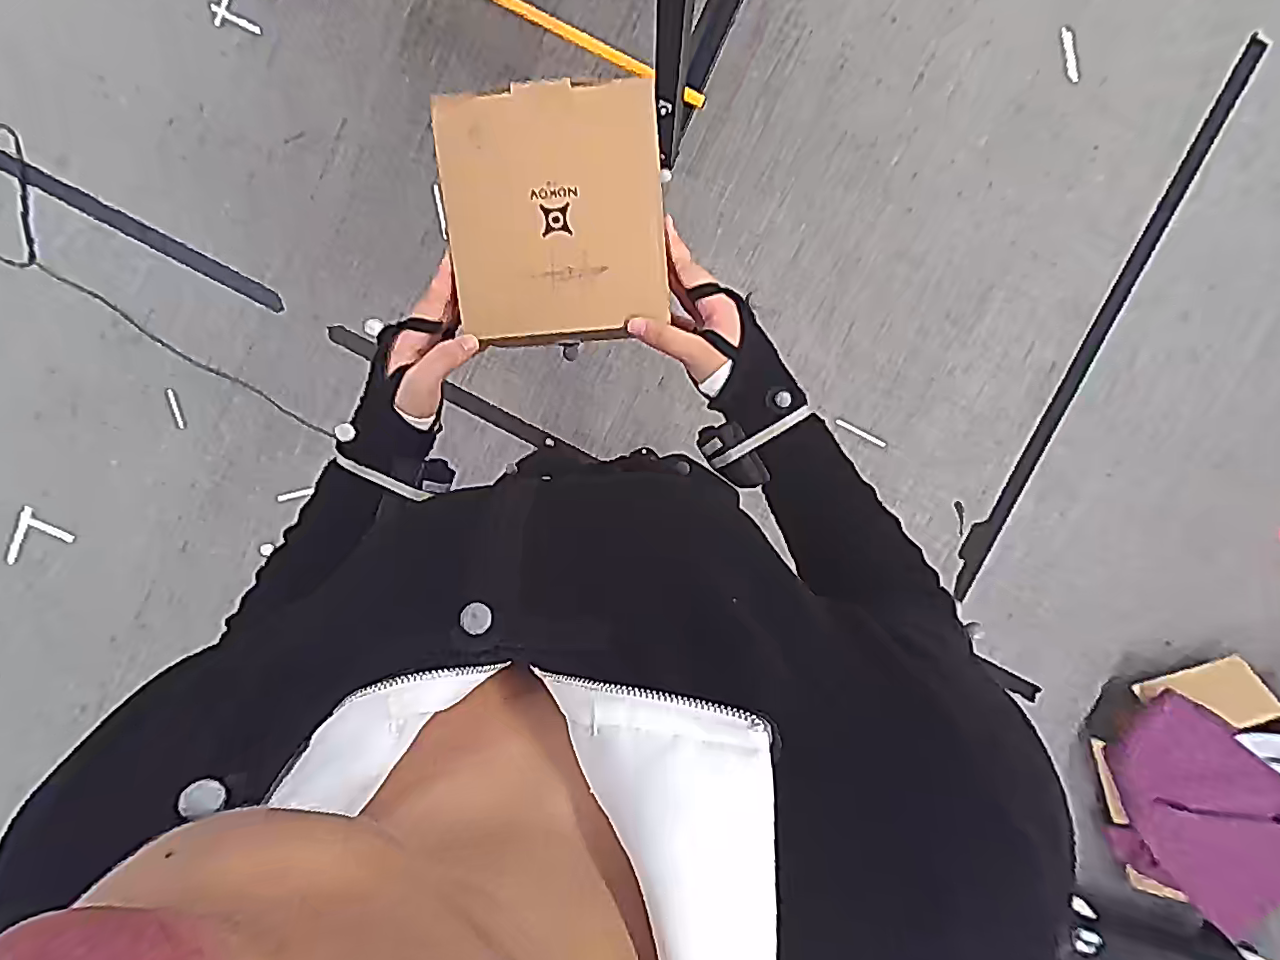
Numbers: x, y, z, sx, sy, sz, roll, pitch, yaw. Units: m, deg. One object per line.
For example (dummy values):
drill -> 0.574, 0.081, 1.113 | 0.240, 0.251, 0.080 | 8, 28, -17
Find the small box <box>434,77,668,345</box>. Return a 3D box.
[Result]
small box -> -0.067, -0.222, 0.492 | 0.168, 0.176, 0.179 | -5, 102, 0
